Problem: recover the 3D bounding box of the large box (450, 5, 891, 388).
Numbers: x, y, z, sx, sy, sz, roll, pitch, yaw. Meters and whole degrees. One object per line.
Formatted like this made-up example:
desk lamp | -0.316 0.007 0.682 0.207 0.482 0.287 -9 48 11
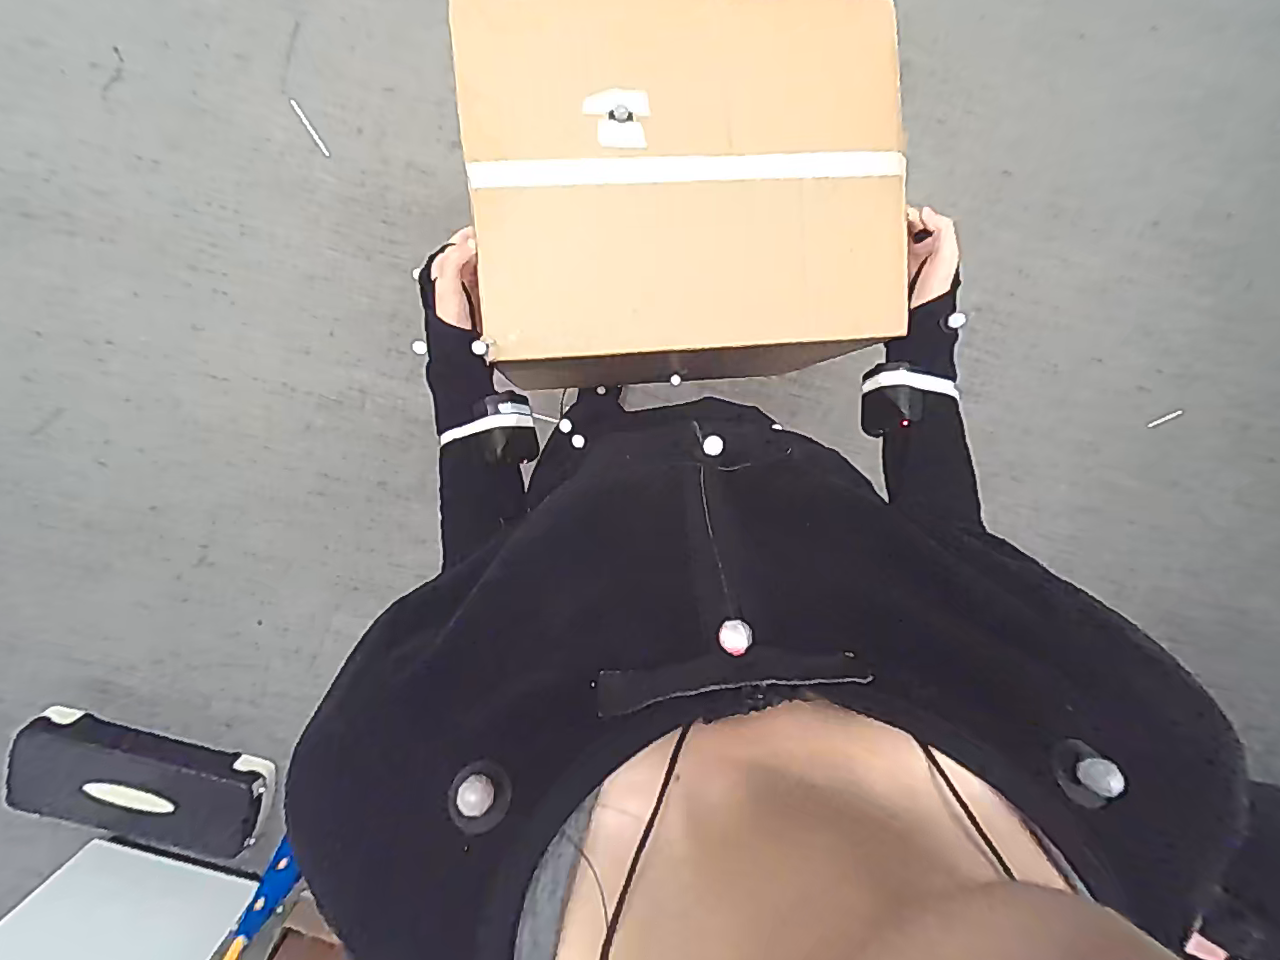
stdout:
large box | 0.027 -0.290 0.653 0.408 0.320 0.320 -5 94 -6
